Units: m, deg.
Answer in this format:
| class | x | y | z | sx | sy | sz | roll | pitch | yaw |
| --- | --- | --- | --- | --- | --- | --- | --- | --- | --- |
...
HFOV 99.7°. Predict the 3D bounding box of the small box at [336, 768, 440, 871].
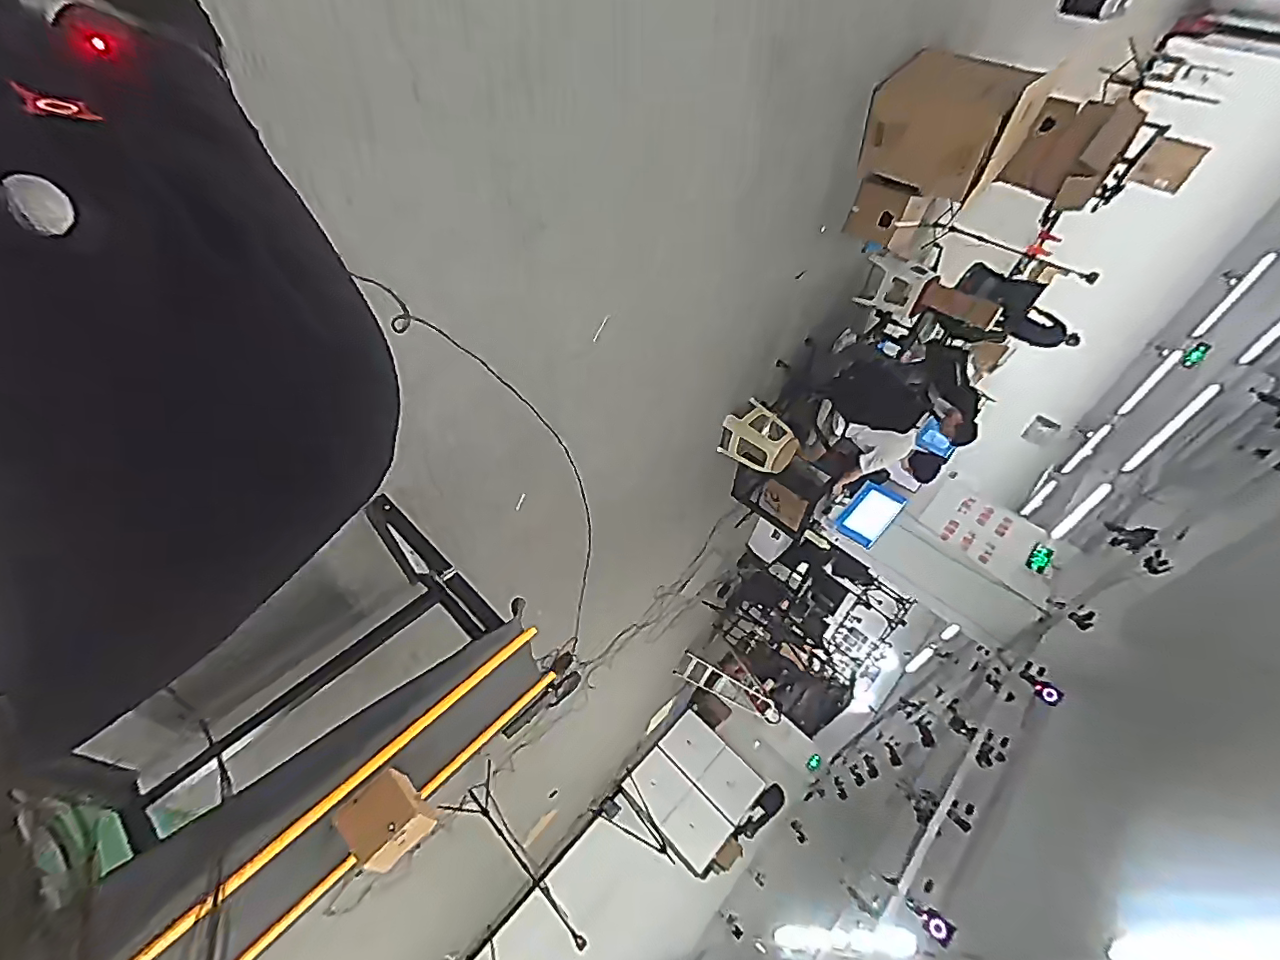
| class | x | y | z | sx | sy | sz | roll | pitch | yaw |
| --- | --- | --- | --- | --- | --- | --- | --- | --- | --- |
| small box | -0.681 | 0.918 | 1.469 | 0.168 | 0.176 | 0.179 | -40 | 152 | -27 |
